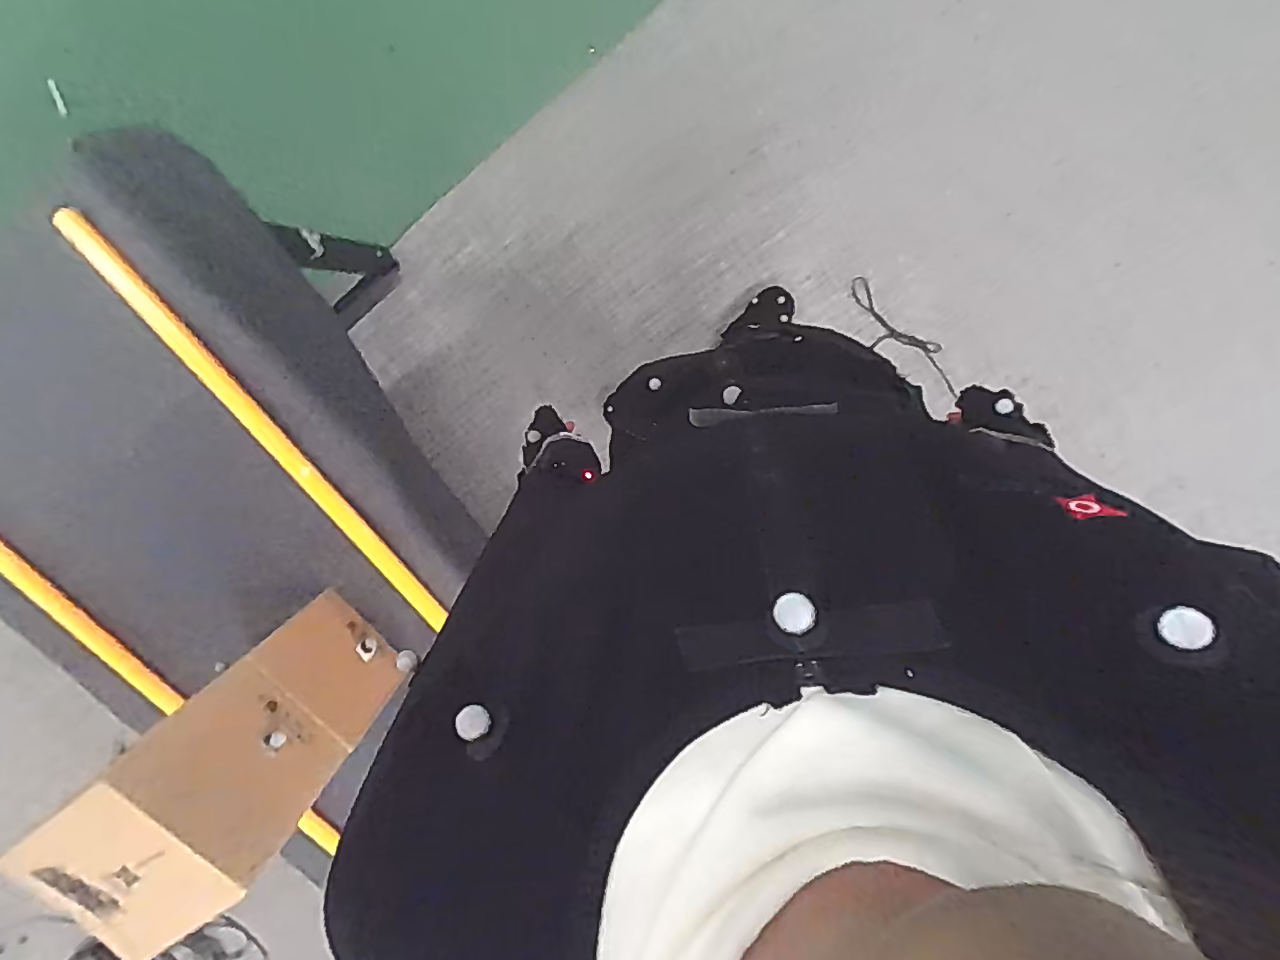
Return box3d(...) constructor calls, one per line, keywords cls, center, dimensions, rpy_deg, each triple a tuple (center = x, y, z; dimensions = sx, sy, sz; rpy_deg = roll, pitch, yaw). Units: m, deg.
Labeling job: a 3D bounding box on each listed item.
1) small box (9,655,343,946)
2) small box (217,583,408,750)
box3d(cls="small box", center=(-0.467, 0.327, 0.575), dimensions=(0.179, 0.176, 0.168), rpy_deg=(-36, 103, 13))
box3d(cls="small box", center=(-0.456, 0.276, 0.732), dimensions=(0.179, 0.176, 0.168), rpy_deg=(-37, 103, 12))
